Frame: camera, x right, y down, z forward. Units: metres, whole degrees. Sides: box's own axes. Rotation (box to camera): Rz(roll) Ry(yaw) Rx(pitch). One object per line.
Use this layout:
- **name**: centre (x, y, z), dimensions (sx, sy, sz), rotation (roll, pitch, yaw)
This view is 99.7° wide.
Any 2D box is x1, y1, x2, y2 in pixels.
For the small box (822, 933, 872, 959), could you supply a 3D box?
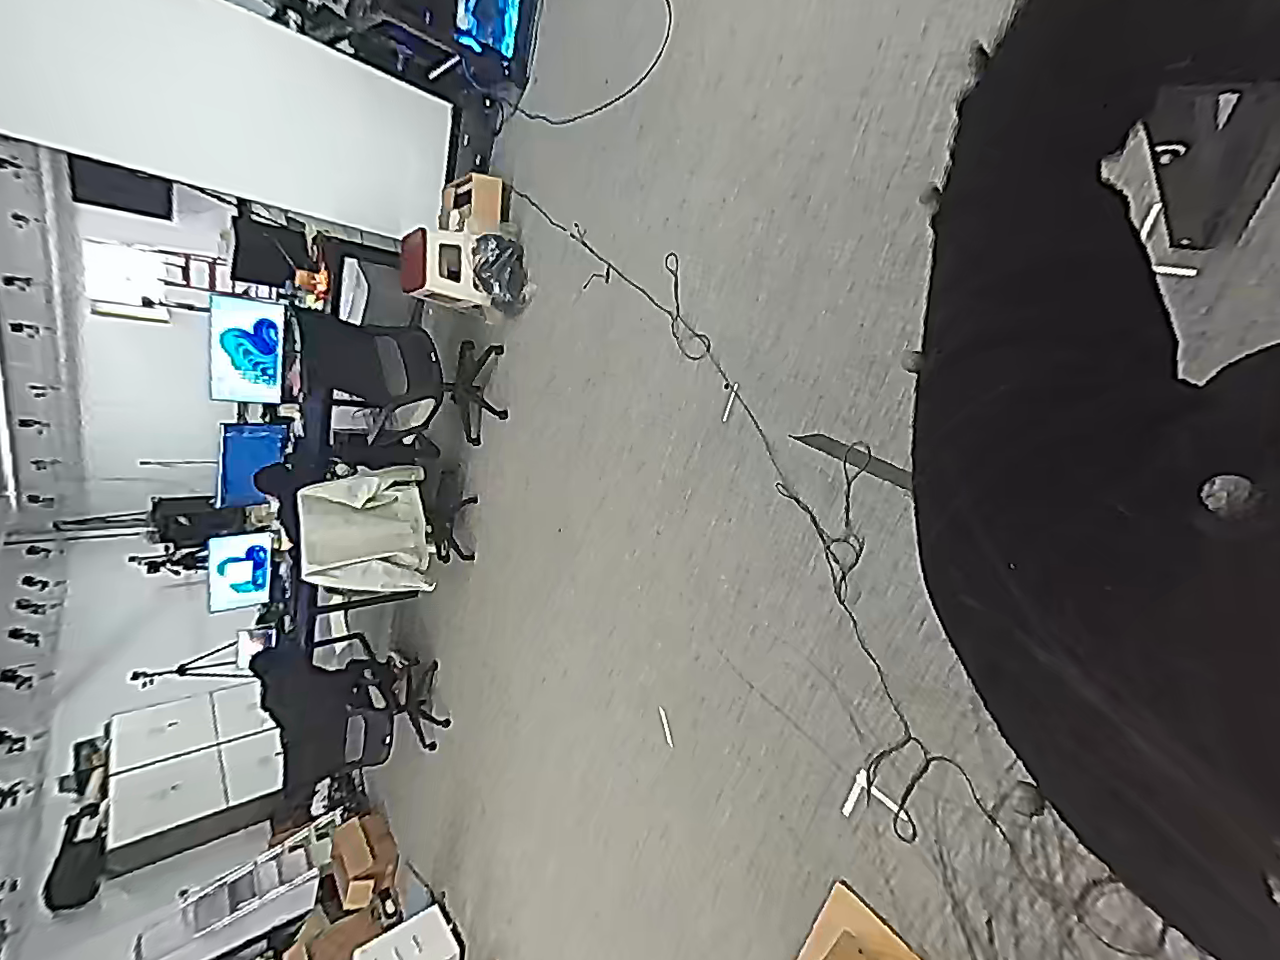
- **small box**: centre (0.593, 1.464, 1.544), dimensions (0.168, 0.176, 0.179), rotation (26, 111, 43)
